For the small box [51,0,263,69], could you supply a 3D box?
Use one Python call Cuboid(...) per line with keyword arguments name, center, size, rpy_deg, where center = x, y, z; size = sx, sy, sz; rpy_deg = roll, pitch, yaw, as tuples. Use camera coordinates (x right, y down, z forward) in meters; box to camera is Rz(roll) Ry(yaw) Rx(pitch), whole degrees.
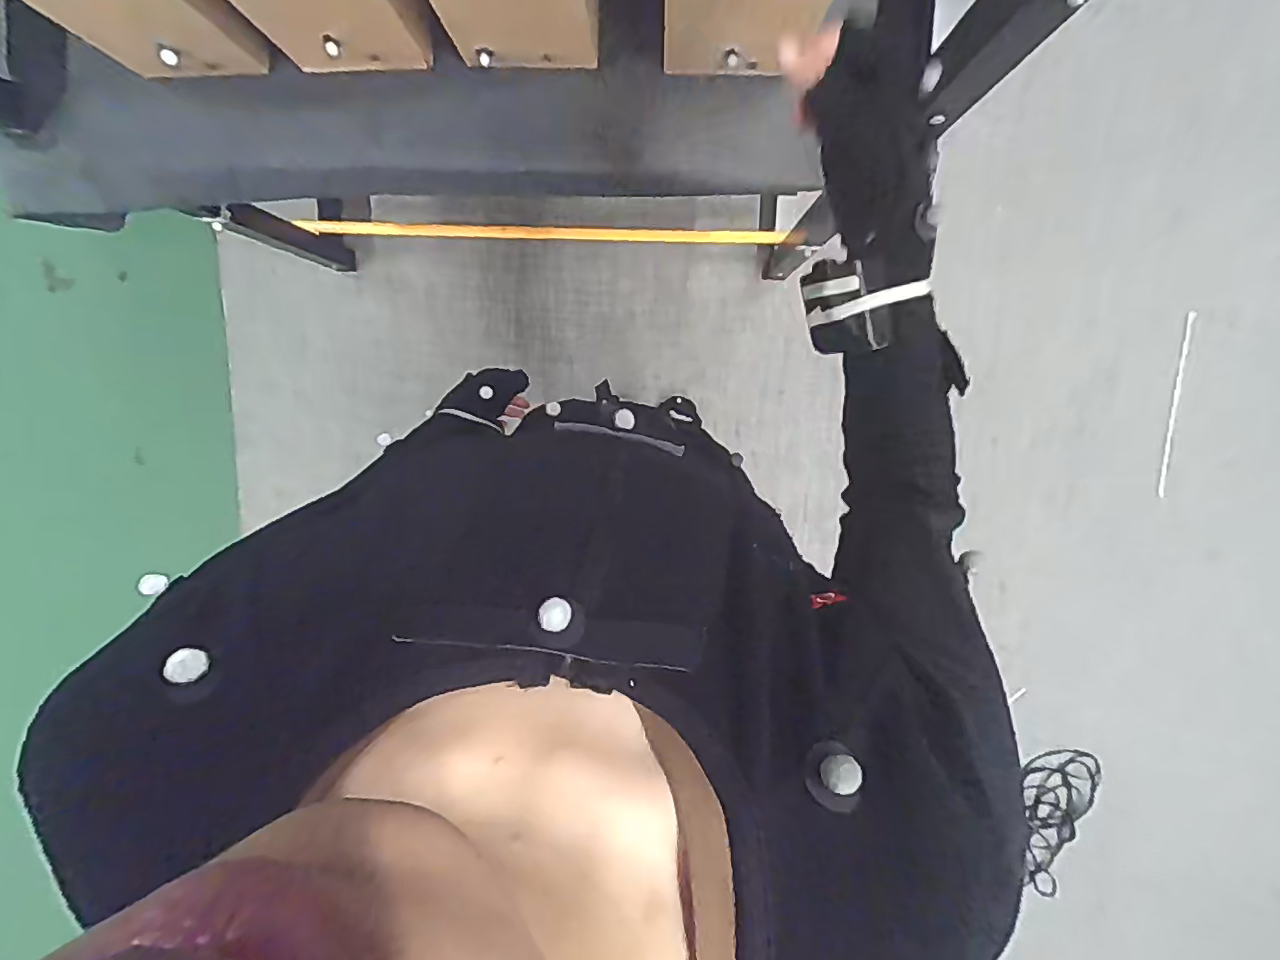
Cuboid(name="small box", center=(-0.548, -0.588, 0.581), size=(0.168, 0.176, 0.179), rpy_deg=(0, 99, 2))
